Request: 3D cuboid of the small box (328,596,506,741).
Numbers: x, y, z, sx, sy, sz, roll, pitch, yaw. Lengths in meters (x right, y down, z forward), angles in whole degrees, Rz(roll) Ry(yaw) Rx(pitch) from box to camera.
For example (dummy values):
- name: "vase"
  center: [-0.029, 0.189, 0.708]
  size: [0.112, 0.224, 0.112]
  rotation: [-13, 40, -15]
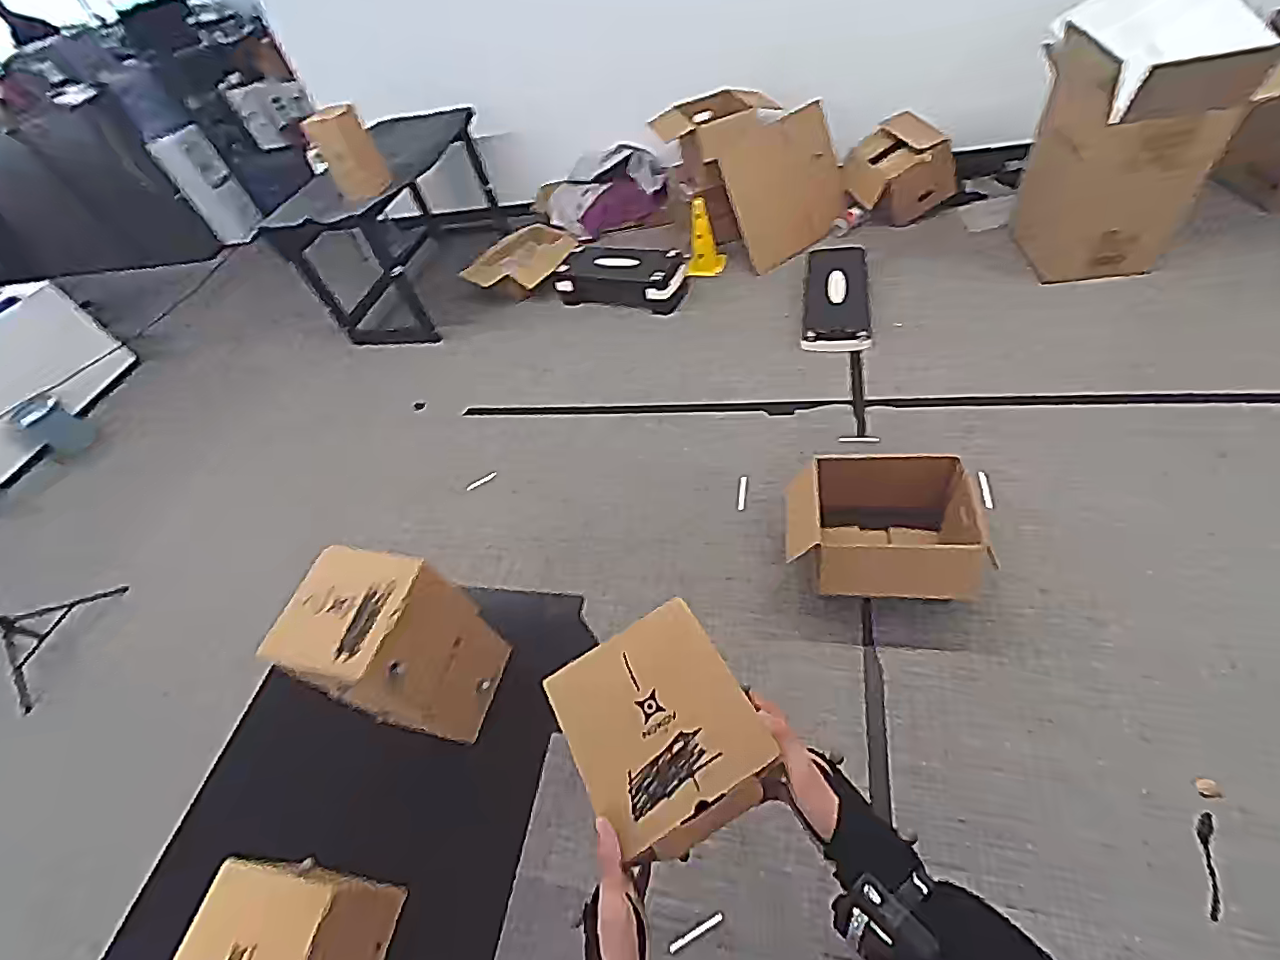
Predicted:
- name: "small box"
  center: [-0.353, 0.313, 0.892]
  size: [0.179, 0.176, 0.168]
  rotation: [5, 55, 18]

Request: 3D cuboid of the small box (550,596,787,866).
- name: "small box"
  center: [0.036, 0.257, 0.555]
  size: [0.168, 0.176, 0.179]
  rotation: [-30, 53, -5]

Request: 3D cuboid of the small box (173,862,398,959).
- name: "small box"
  center: [-0.453, 0.607, 0.687]
  size: [0.179, 0.176, 0.168]
  rotation: [1, 53, 14]
